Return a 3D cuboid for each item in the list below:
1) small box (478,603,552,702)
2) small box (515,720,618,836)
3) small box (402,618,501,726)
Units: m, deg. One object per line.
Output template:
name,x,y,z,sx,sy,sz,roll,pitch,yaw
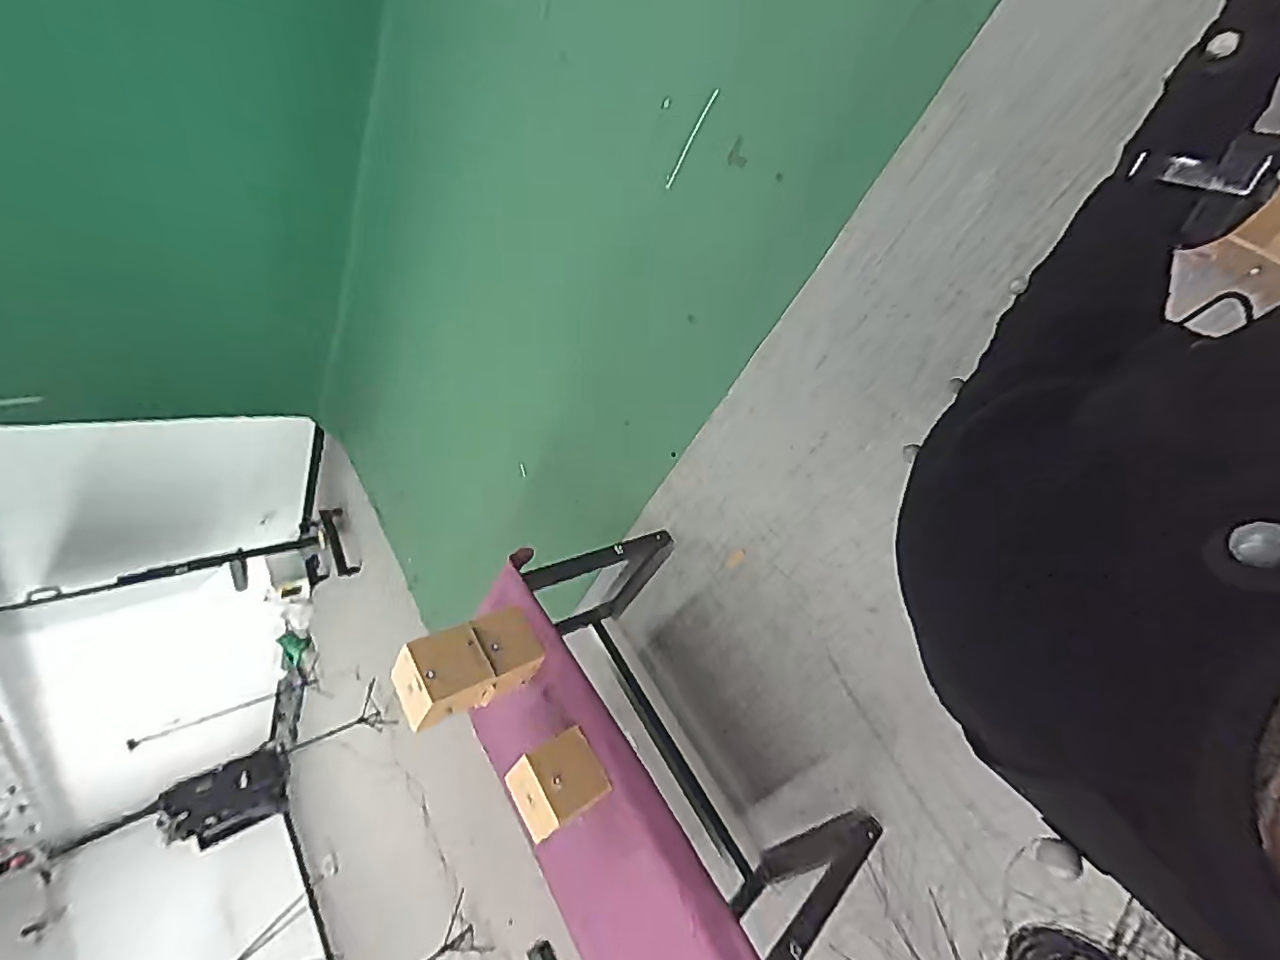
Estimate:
small box,-0.370,0.468,1.493,0.179,0.176,0.168,51,128,25
small box,-0.184,0.747,1.365,0.179,0.176,0.168,54,131,24
small box,-0.475,0.480,1.366,0.168,0.176,0.179,53,130,23
